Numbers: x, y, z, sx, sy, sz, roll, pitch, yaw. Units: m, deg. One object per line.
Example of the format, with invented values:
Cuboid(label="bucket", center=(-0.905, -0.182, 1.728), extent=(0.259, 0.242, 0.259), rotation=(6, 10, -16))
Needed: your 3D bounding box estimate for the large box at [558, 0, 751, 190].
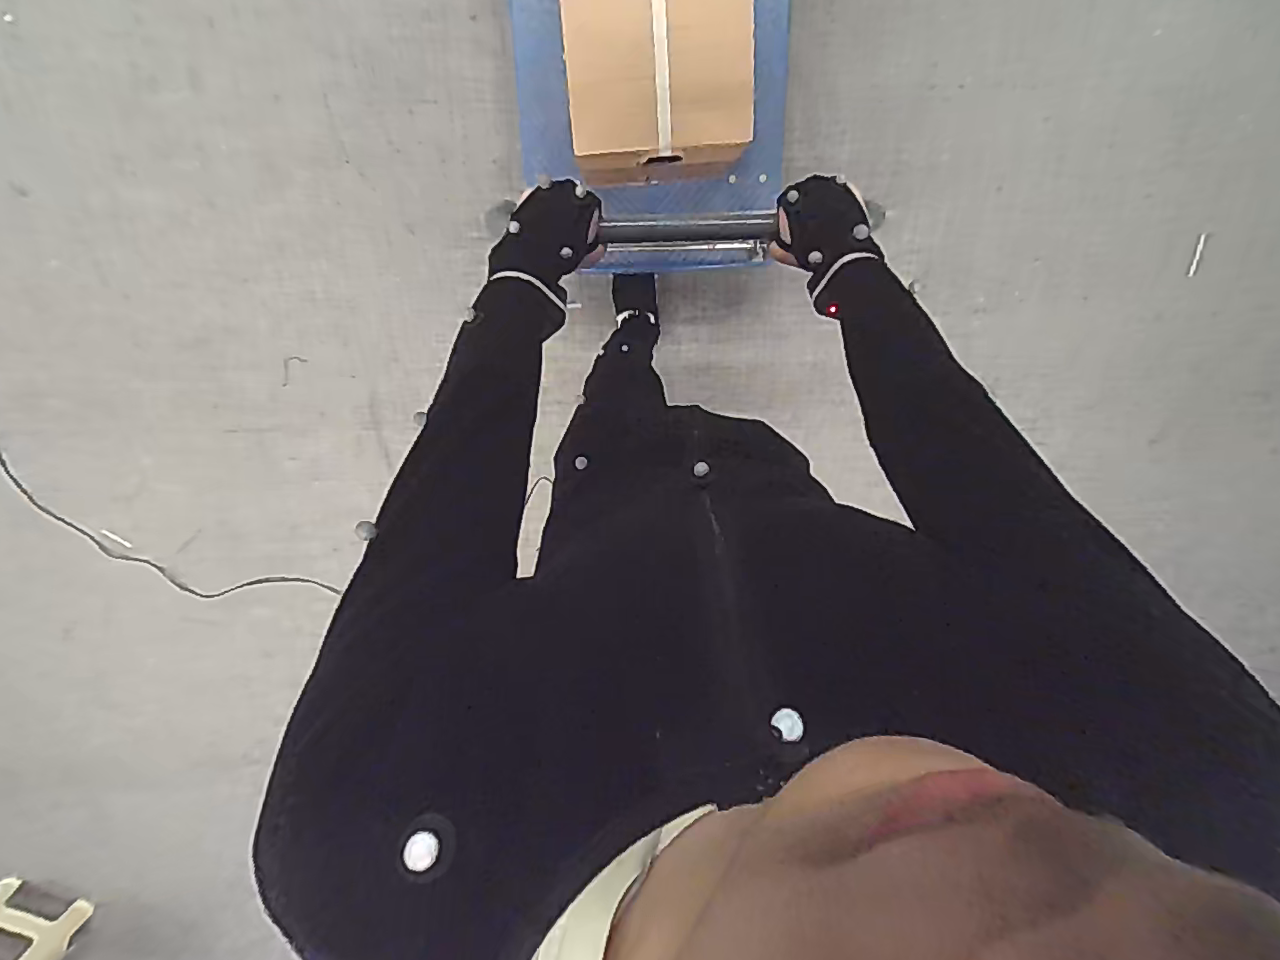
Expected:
Cuboid(label="large box", center=(0.023, -0.810, 1.022), extent=(0.320, 0.320, 0.408), rotation=(-4, 109, 0))
